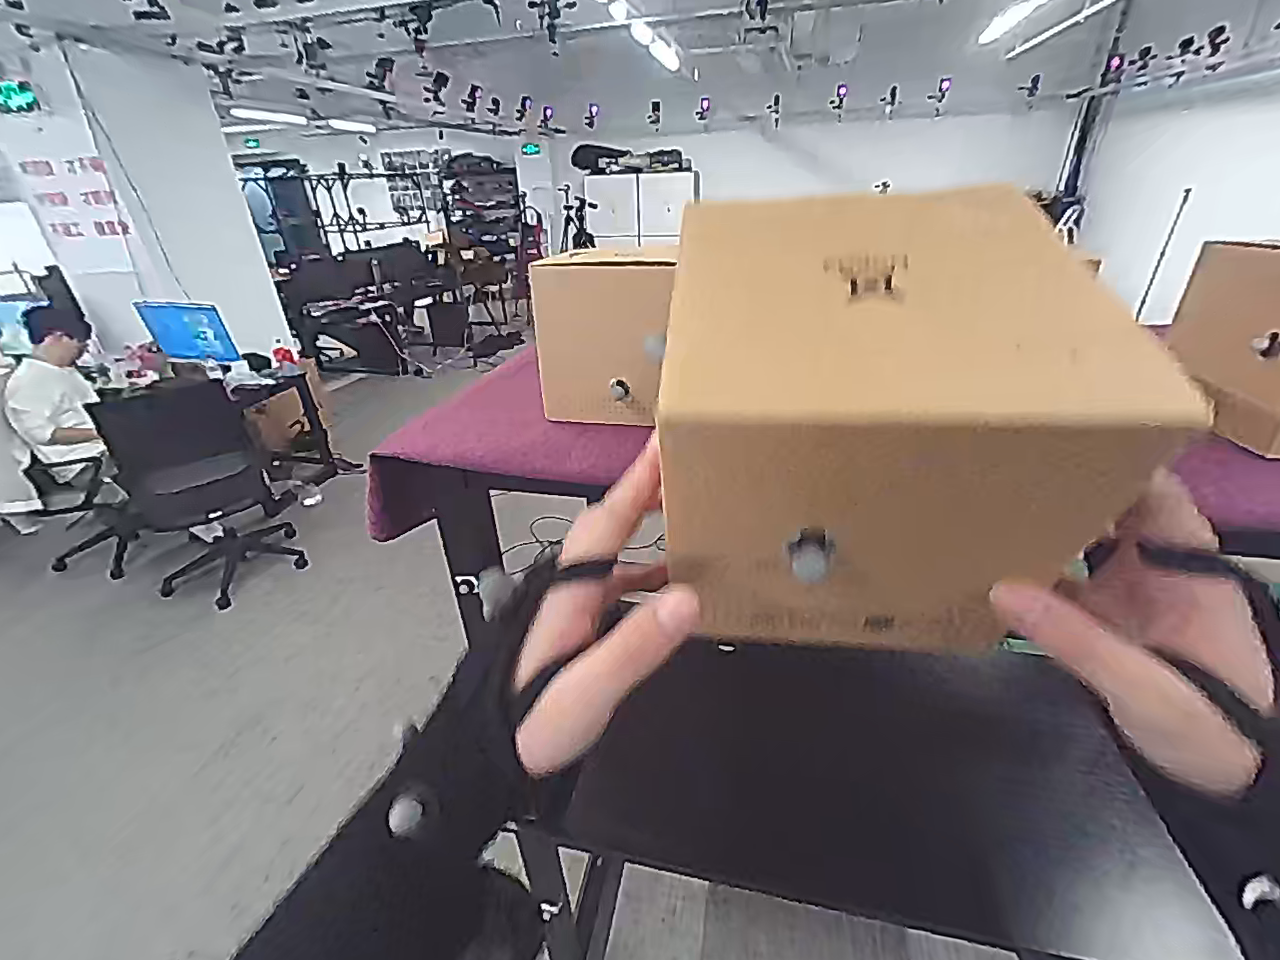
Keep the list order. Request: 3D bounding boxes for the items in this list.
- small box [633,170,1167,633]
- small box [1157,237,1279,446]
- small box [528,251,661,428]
[{"bbox_3d":[0.097,-0.036,0.286,0.168,0.176,0.179,1,48,9],"label":"small box"},{"bbox_3d":[0.631,-0.125,0.490,0.168,0.176,0.179,3,27,11],"label":"small box"},{"bbox_3d":[-0.010,-0.164,0.624,0.179,0.176,0.168,4,27,10],"label":"small box"}]
